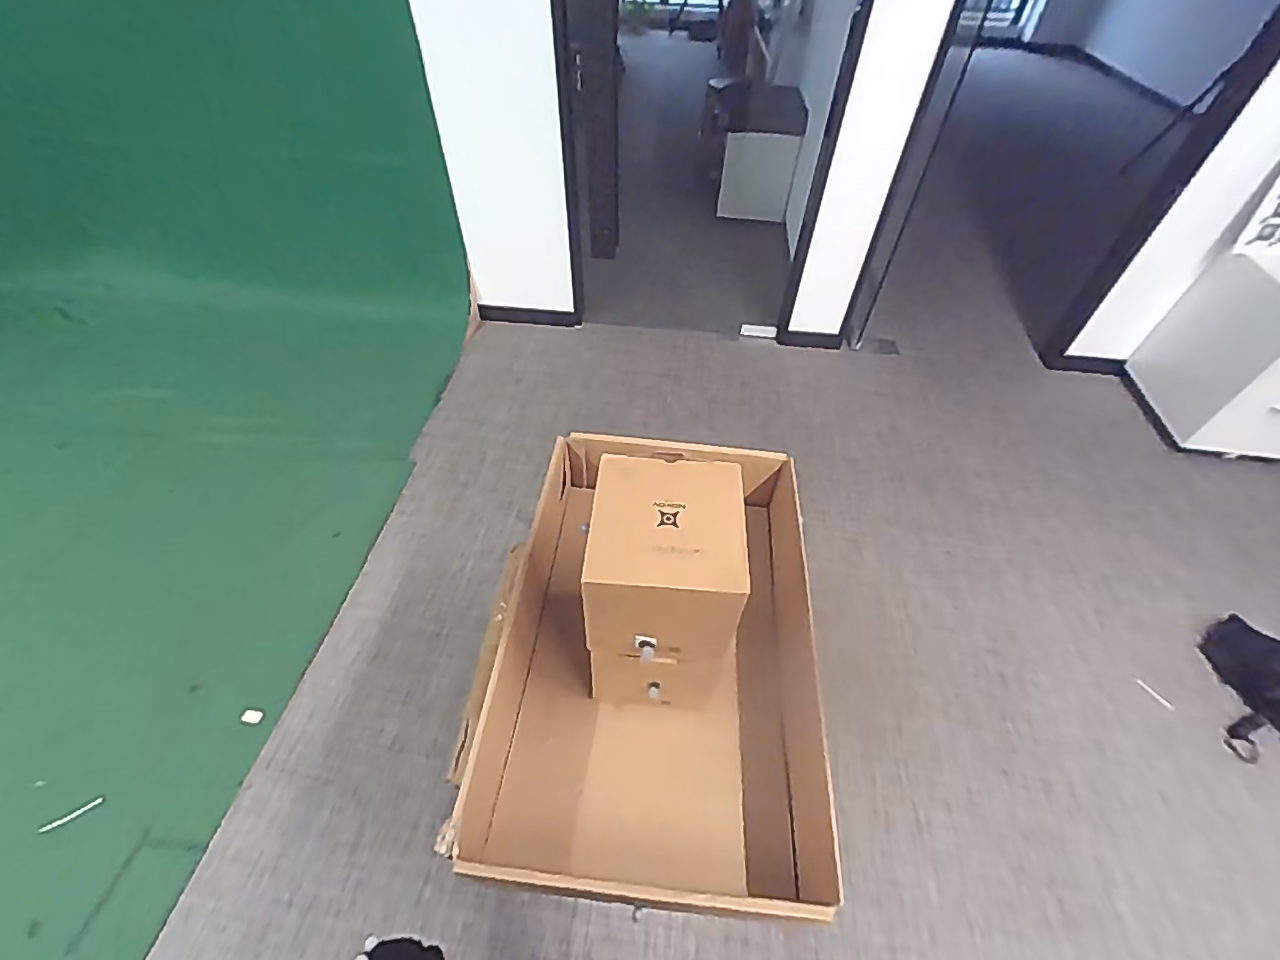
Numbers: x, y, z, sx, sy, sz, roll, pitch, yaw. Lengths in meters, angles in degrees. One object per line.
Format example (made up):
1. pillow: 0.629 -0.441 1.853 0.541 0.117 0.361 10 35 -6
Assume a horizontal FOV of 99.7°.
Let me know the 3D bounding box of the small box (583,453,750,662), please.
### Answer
1. small box: 0.028 0.092 0.636 0.168 0.176 0.179 4 49 1
